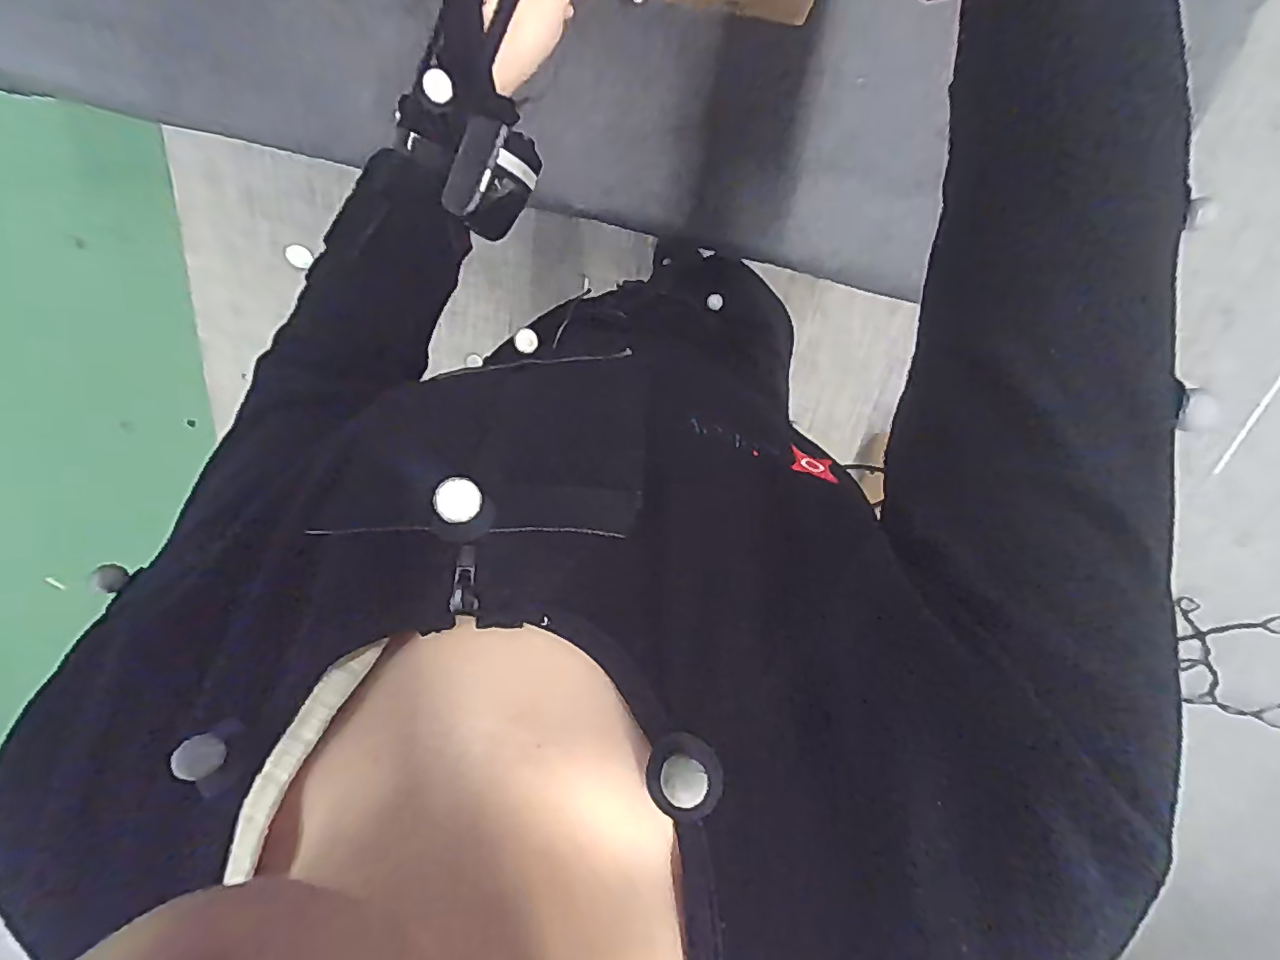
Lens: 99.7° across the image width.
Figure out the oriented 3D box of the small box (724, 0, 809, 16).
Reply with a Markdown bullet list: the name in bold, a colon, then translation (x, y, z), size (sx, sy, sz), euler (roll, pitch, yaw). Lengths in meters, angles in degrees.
- **small box**: translation (0.061, -0.431, 0.333), size (0.168, 0.176, 0.179), euler (12, 115, 1)

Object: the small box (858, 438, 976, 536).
- **small box**: translation (0.639, 0.011, 1.271), size (0.179, 0.176, 0.168), euler (8, 114, 4)
